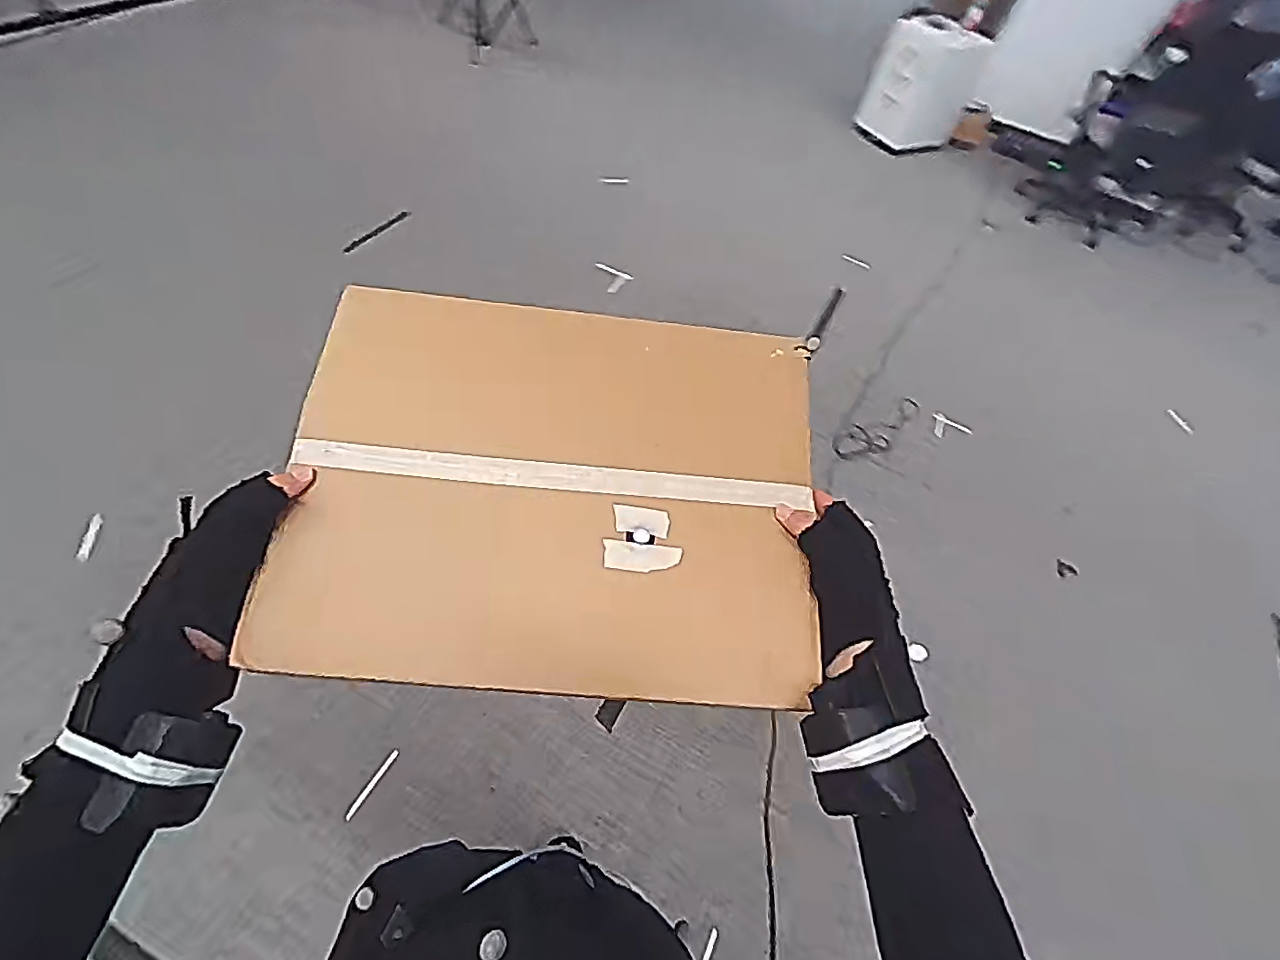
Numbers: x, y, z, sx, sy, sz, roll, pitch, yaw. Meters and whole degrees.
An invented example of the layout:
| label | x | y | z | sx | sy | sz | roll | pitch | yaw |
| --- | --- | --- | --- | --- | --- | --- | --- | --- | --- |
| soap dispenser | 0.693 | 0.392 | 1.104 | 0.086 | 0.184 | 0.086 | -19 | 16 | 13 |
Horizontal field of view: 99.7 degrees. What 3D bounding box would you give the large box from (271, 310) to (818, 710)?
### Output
| label | x | y | z | sx | sy | sz | roll | pitch | yaw |
| --- | --- | --- | --- | --- | --- | --- | --- | --- | --- |
| large box | -0.067 | 0.059 | 0.580 | 0.408 | 0.320 | 0.320 | 7 | 70 | -3 |
